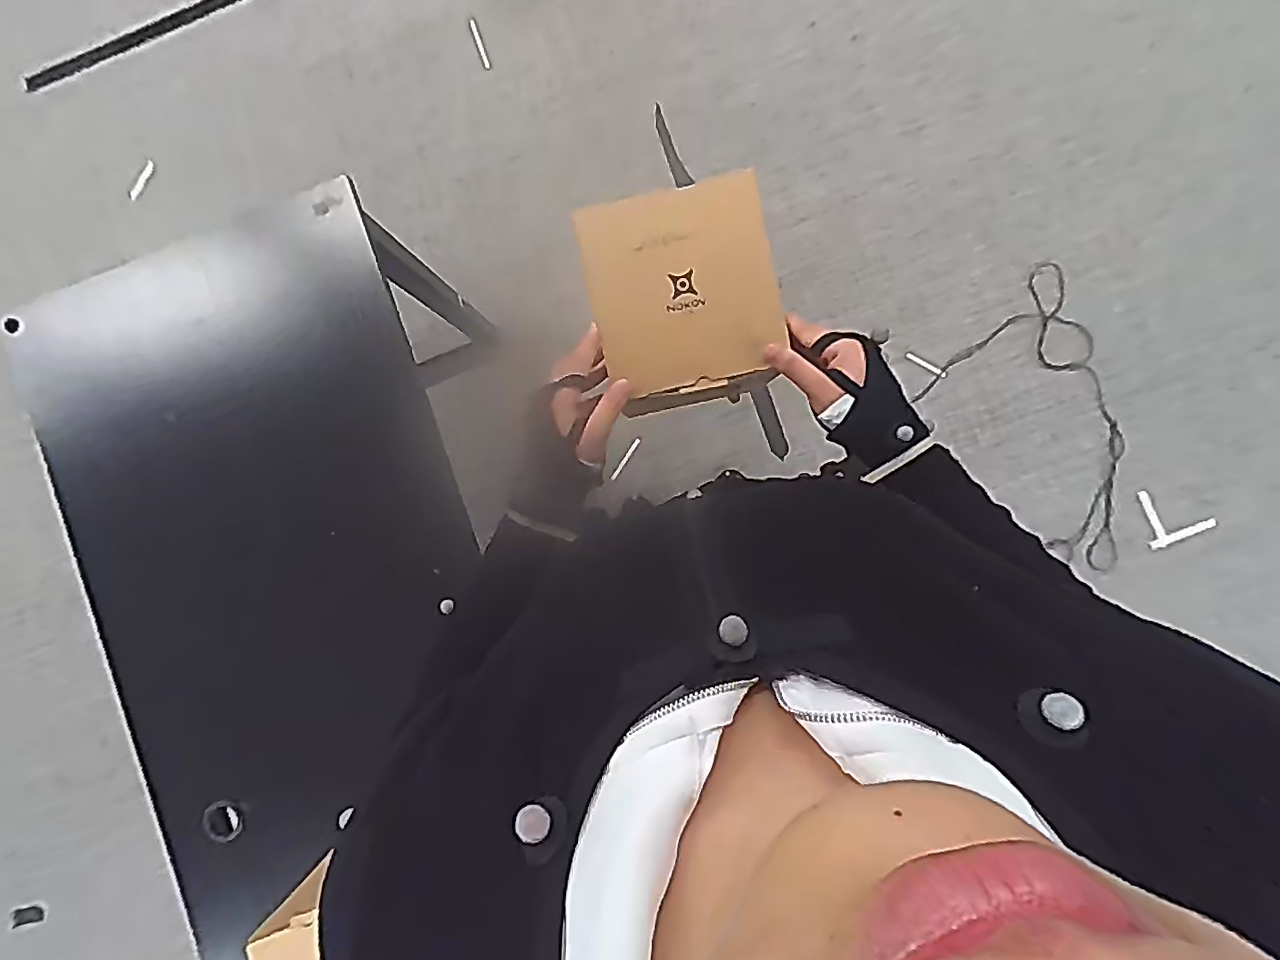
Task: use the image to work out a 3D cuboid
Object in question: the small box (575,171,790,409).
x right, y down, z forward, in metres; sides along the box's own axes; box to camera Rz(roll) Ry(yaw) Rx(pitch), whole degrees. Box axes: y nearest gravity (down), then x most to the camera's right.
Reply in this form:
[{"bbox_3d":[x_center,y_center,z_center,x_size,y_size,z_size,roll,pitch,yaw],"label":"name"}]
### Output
[{"bbox_3d":[0.041,-0.174,0.560,0.168,0.176,0.179,-13,91,2],"label":"small box"}]
